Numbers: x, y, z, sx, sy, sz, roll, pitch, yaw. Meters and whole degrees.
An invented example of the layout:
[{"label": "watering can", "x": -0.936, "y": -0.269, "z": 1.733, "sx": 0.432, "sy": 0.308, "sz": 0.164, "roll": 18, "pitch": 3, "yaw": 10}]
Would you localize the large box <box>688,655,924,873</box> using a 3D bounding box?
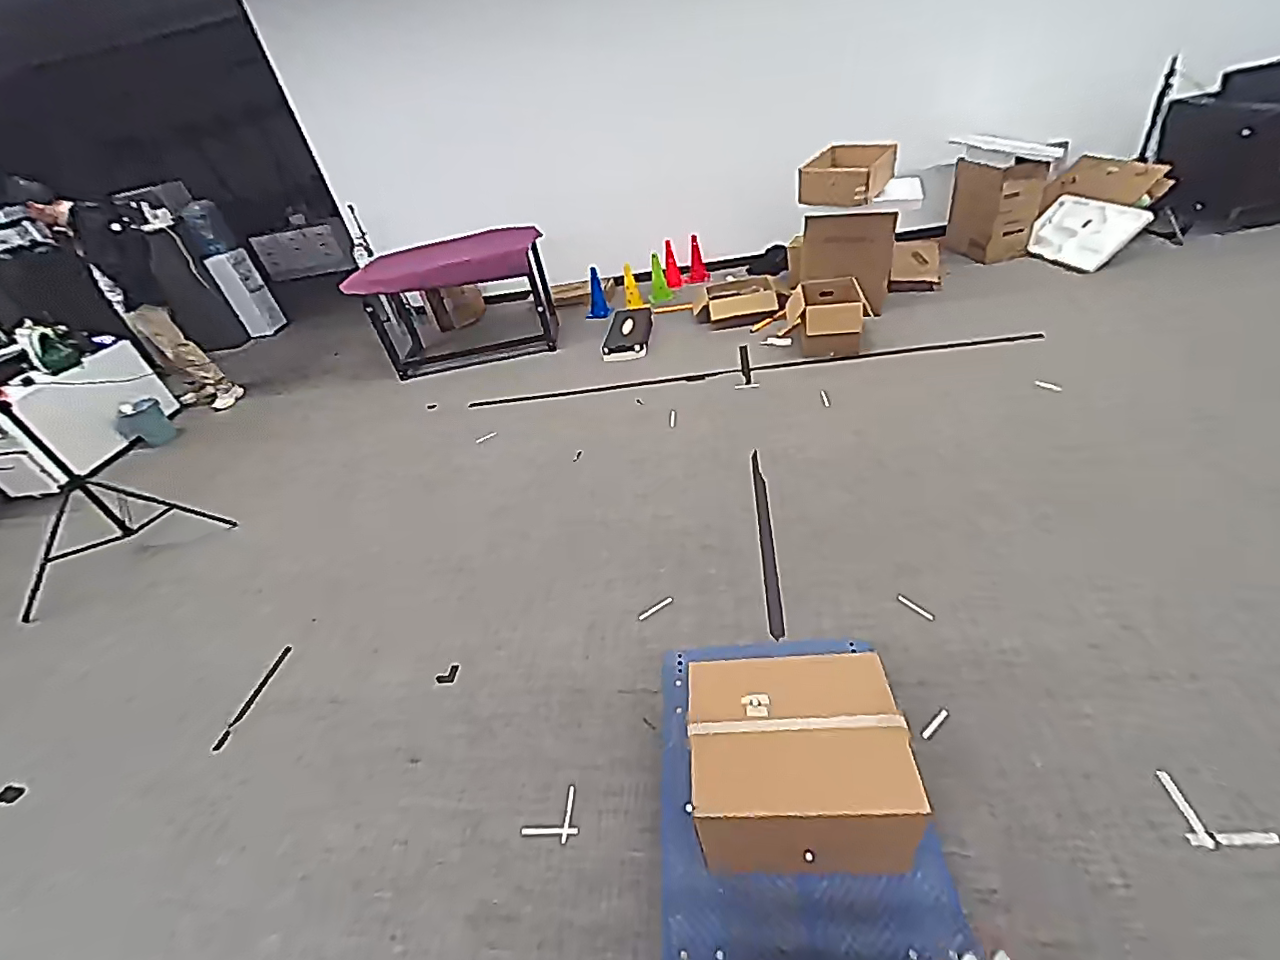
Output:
[{"label": "large box", "x": 0.326, "y": 0.608, "z": 1.154, "sx": 0.408, "sy": 0.320, "sz": 0.320, "roll": -7, "pitch": 36, "yaw": 9}]
